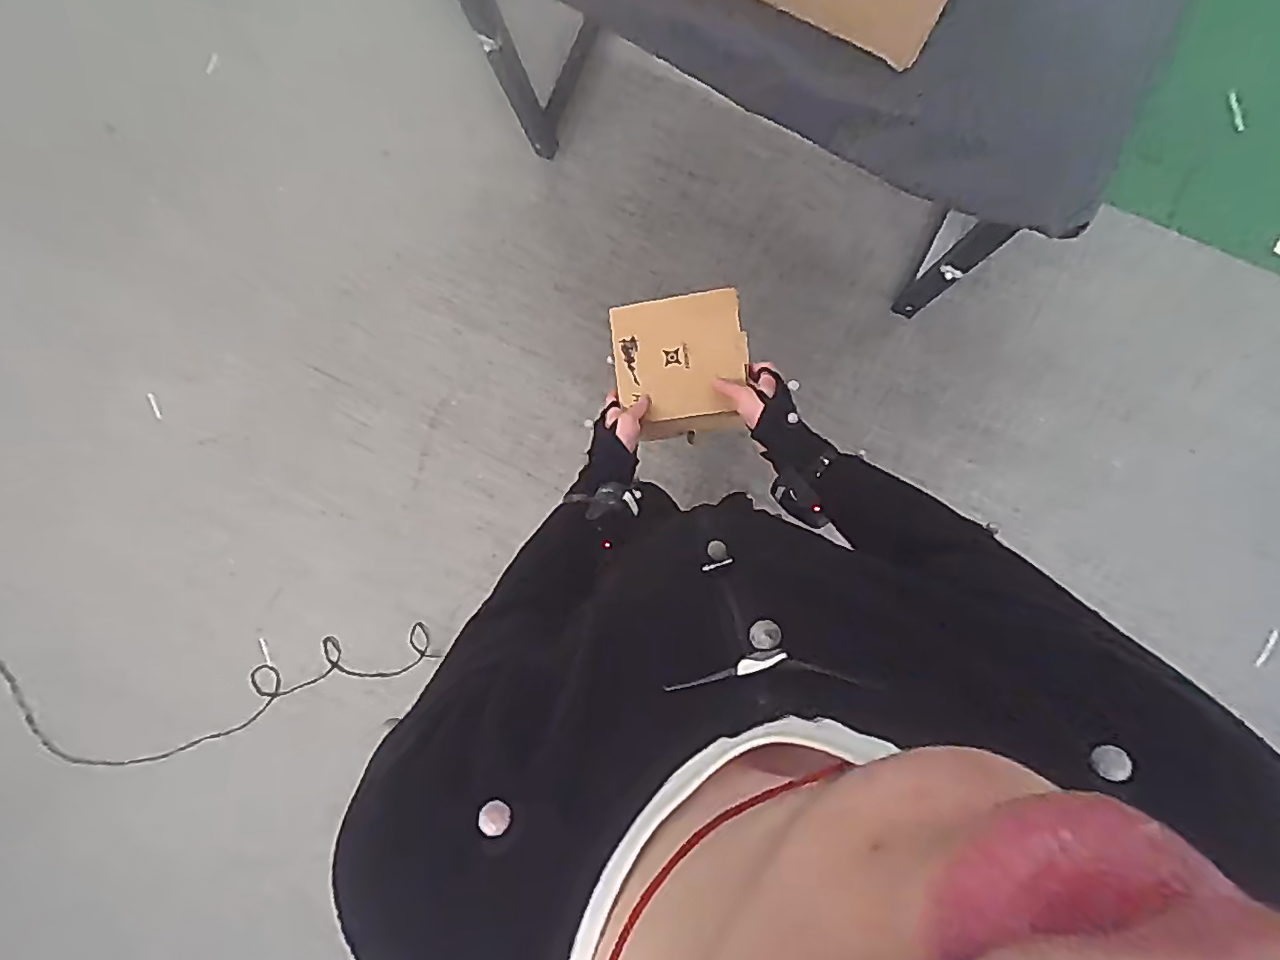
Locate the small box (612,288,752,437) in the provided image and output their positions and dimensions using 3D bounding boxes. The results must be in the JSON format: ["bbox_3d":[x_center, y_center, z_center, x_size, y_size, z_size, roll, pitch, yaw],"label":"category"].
[{"bbox_3d":[0.063,-0.163,0.802,0.179,0.176,0.168,-6,86,7],"label":"small box"}]
